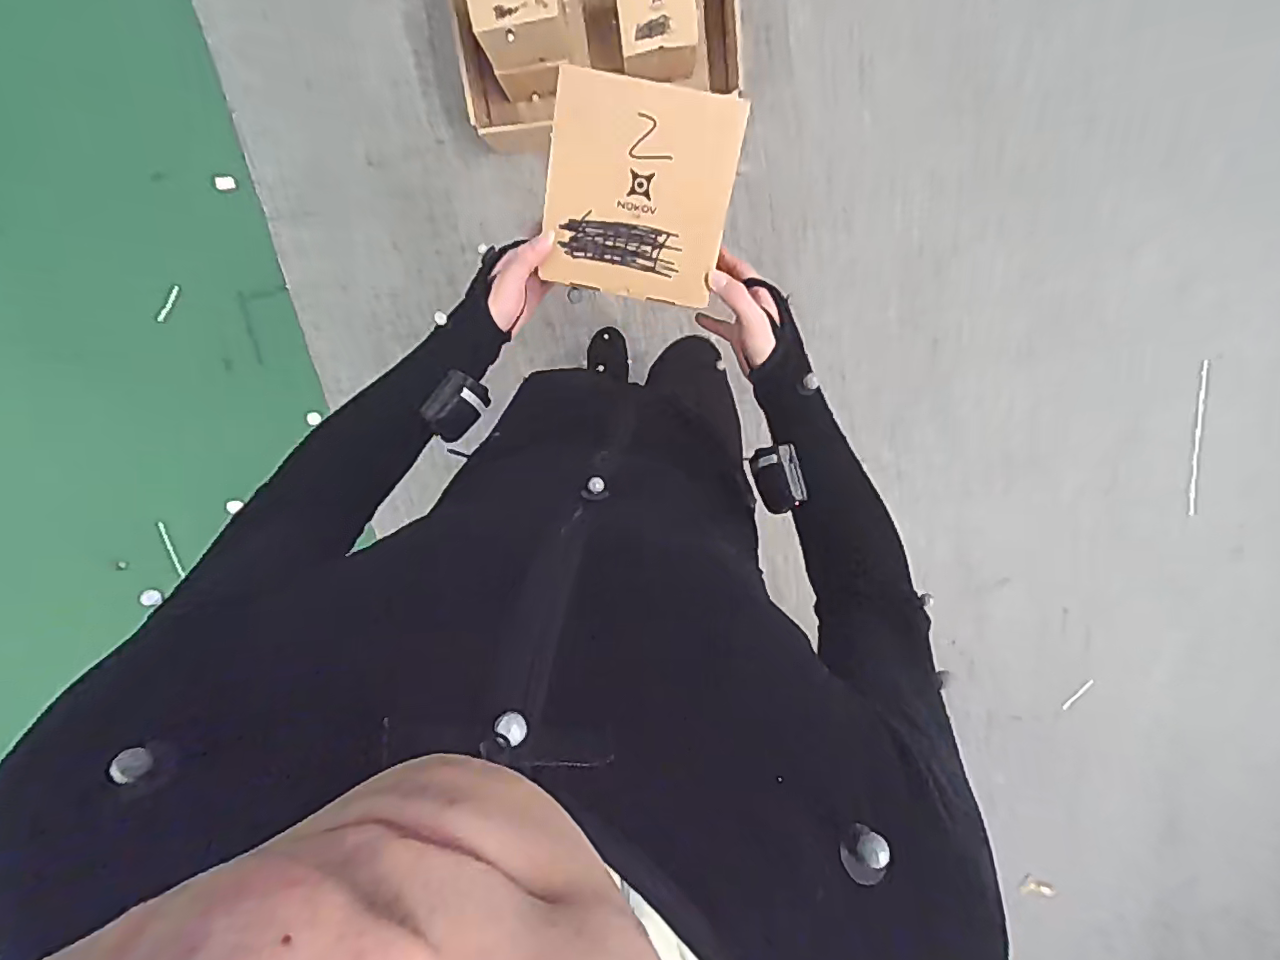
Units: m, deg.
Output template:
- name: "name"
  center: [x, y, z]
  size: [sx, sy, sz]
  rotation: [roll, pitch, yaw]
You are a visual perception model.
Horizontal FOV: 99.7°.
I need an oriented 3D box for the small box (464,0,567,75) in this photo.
- name: "small box"
  center: [-0.245, -0.936, 1.052]
  size: [0.168, 0.176, 0.179]
  rotation: [-8, 105, 3]
